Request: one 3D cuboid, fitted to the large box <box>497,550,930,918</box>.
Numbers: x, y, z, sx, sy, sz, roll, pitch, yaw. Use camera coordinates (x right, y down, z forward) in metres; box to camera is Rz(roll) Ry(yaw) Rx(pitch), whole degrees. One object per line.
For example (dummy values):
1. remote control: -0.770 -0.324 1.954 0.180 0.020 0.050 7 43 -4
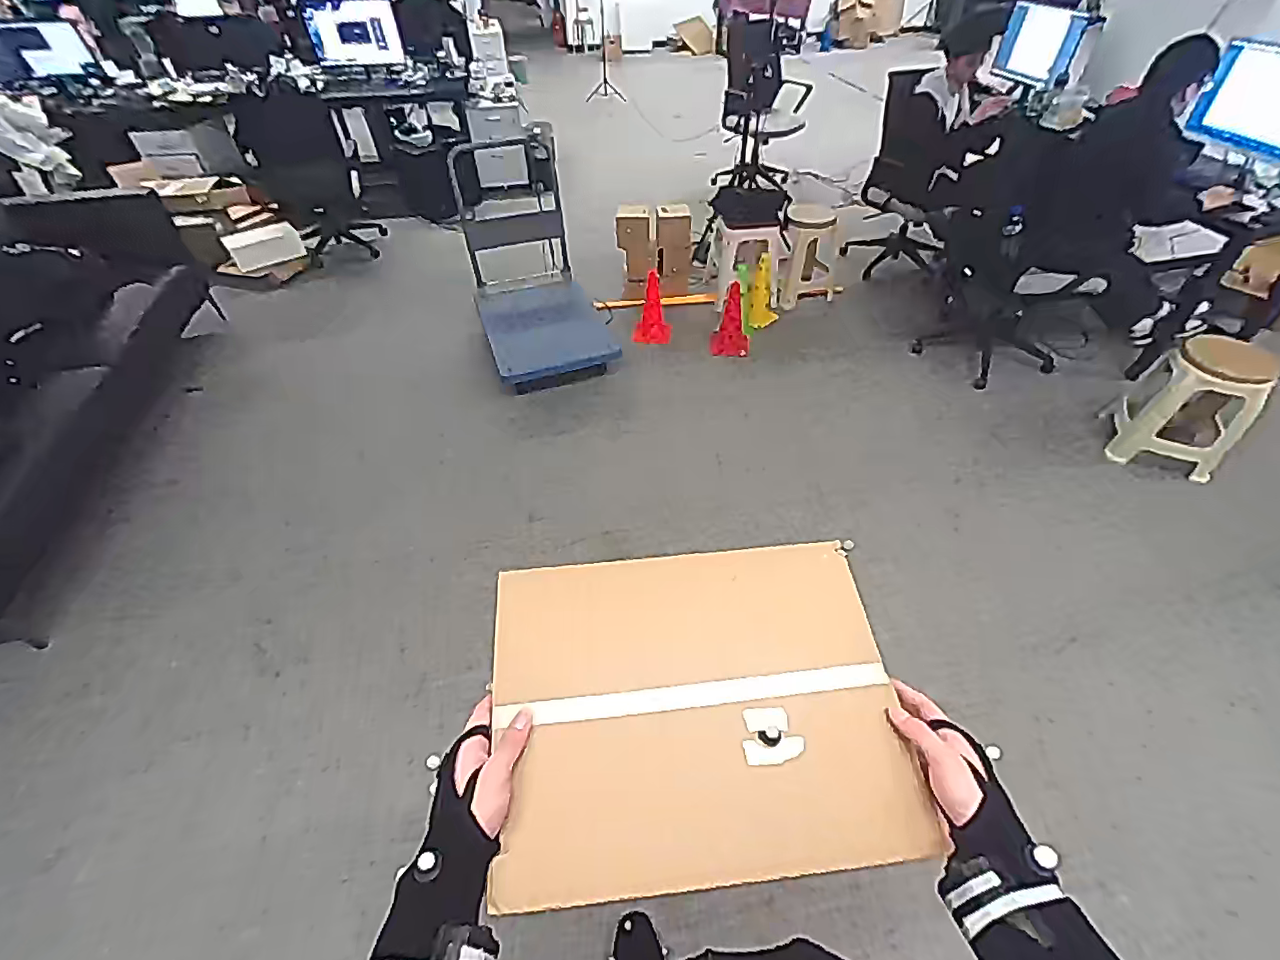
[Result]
1. large box: 0.051 0.314 0.684 0.408 0.320 0.320 -5 57 -4
